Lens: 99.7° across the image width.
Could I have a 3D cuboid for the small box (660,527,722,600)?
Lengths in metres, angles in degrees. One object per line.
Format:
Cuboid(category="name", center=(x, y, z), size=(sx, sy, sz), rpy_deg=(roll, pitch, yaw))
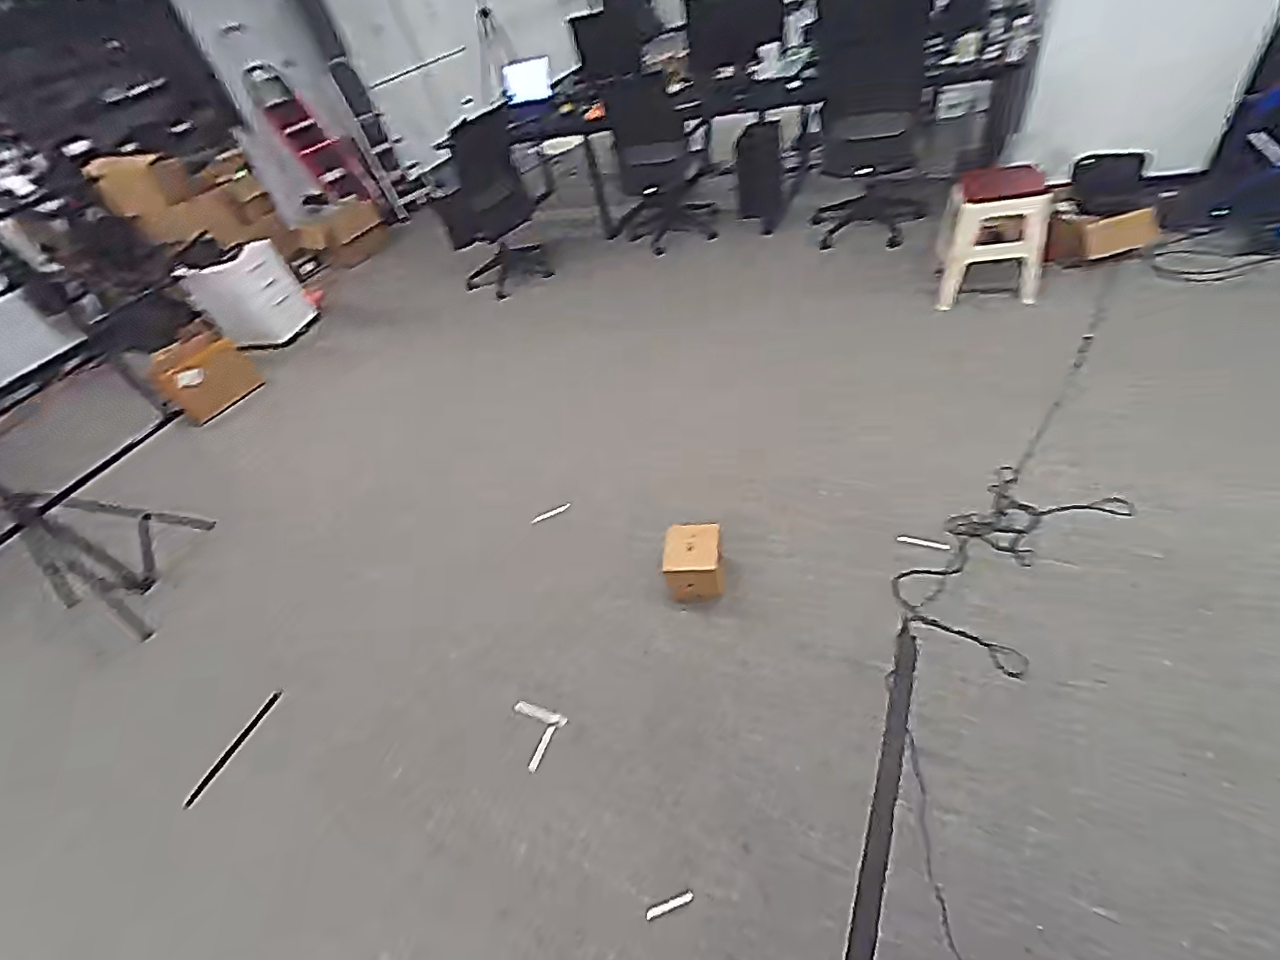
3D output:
Cuboid(category="small box", center=(0.169, 0.271, 1.735), size=(0.168, 0.176, 0.179), rpy_deg=(-3, 45, 15))
